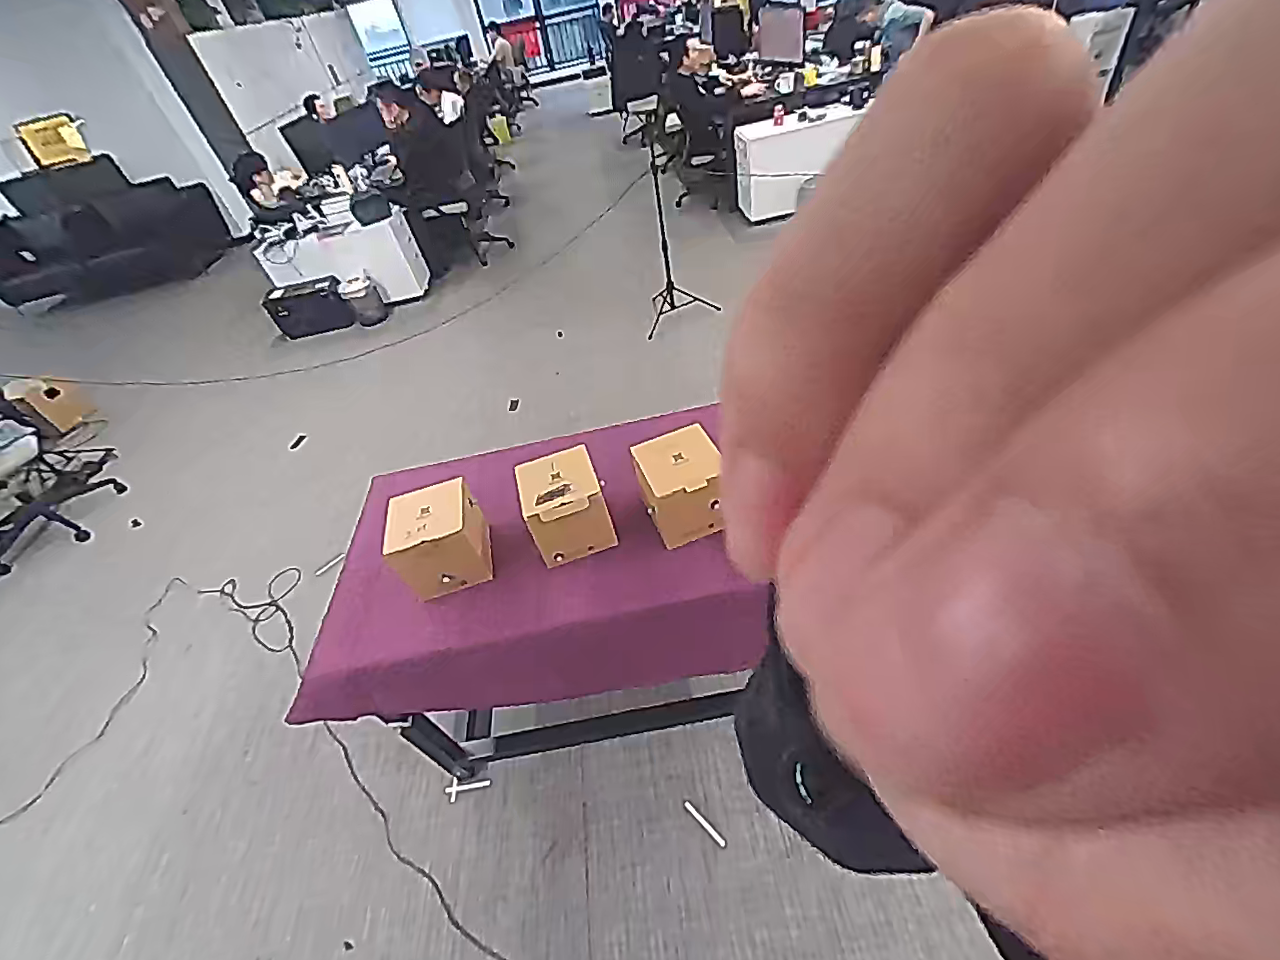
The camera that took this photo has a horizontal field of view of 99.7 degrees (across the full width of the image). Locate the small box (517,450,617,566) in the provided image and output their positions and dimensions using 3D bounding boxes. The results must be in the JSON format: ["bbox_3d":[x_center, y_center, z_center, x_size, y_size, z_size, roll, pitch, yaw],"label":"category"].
[{"bbox_3d":[-0.161,0.068,1.204,0.168,0.176,0.179,-19,42,-5],"label":"small box"}]

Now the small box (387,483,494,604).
[{"bbox_3d":[-0.434,0.142,1.197,0.168,0.176,0.179,-18,43,-4],"label":"small box"}]

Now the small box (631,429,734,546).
[{"bbox_3d":[0.097,0.023,1.186,0.168,0.176,0.179,-20,43,-7],"label":"small box"}]
